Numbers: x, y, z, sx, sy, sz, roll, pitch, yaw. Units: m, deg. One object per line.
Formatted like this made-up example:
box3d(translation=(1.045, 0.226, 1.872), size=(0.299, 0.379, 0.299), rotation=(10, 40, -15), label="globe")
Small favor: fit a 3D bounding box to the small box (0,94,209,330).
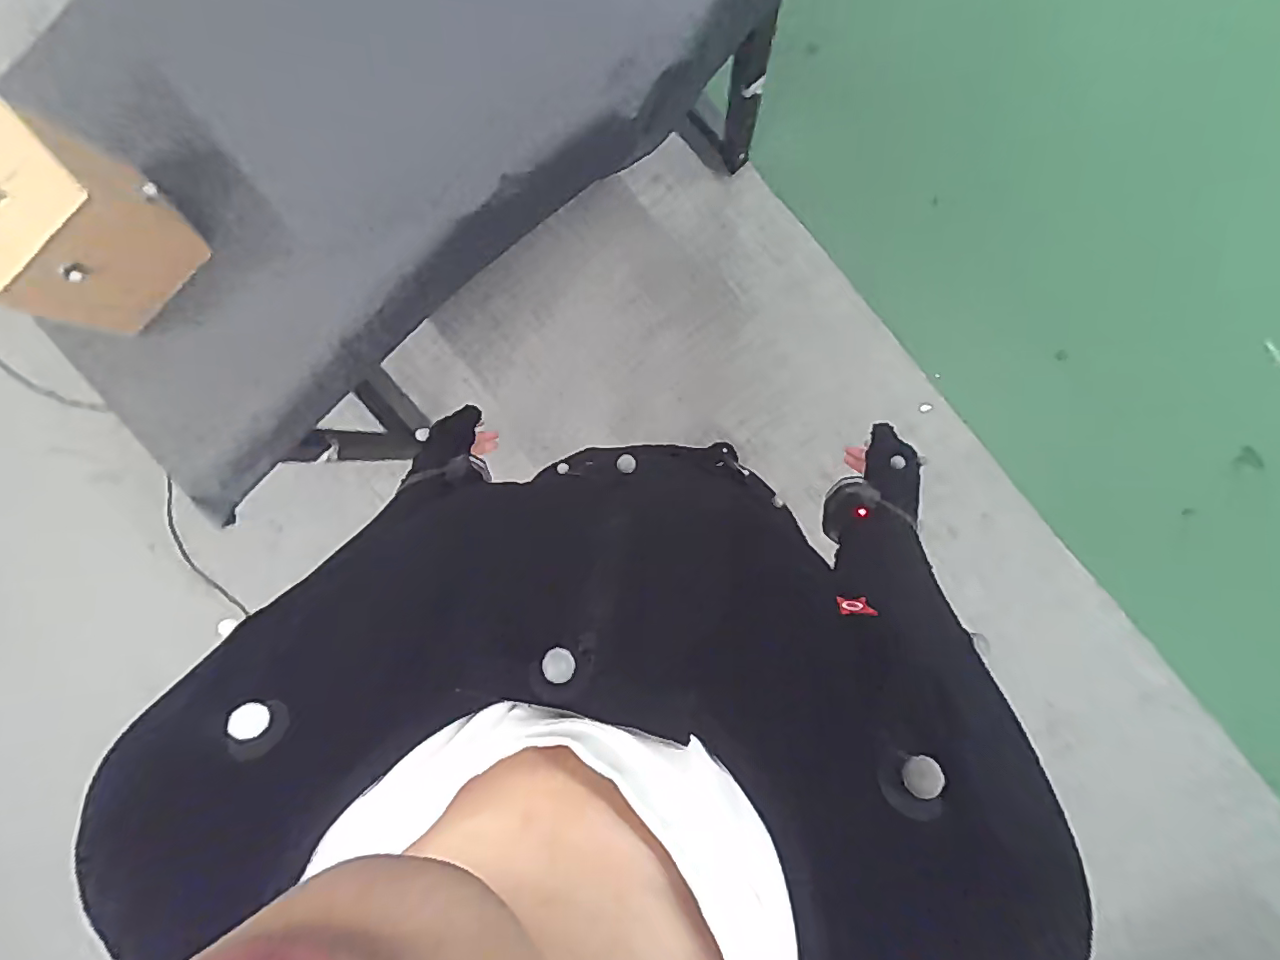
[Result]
box3d(translation=(-0.719, -0.320, 0.690), size=(0.179, 0.176, 0.168), rotation=(-43, 89, 3), label="small box")
